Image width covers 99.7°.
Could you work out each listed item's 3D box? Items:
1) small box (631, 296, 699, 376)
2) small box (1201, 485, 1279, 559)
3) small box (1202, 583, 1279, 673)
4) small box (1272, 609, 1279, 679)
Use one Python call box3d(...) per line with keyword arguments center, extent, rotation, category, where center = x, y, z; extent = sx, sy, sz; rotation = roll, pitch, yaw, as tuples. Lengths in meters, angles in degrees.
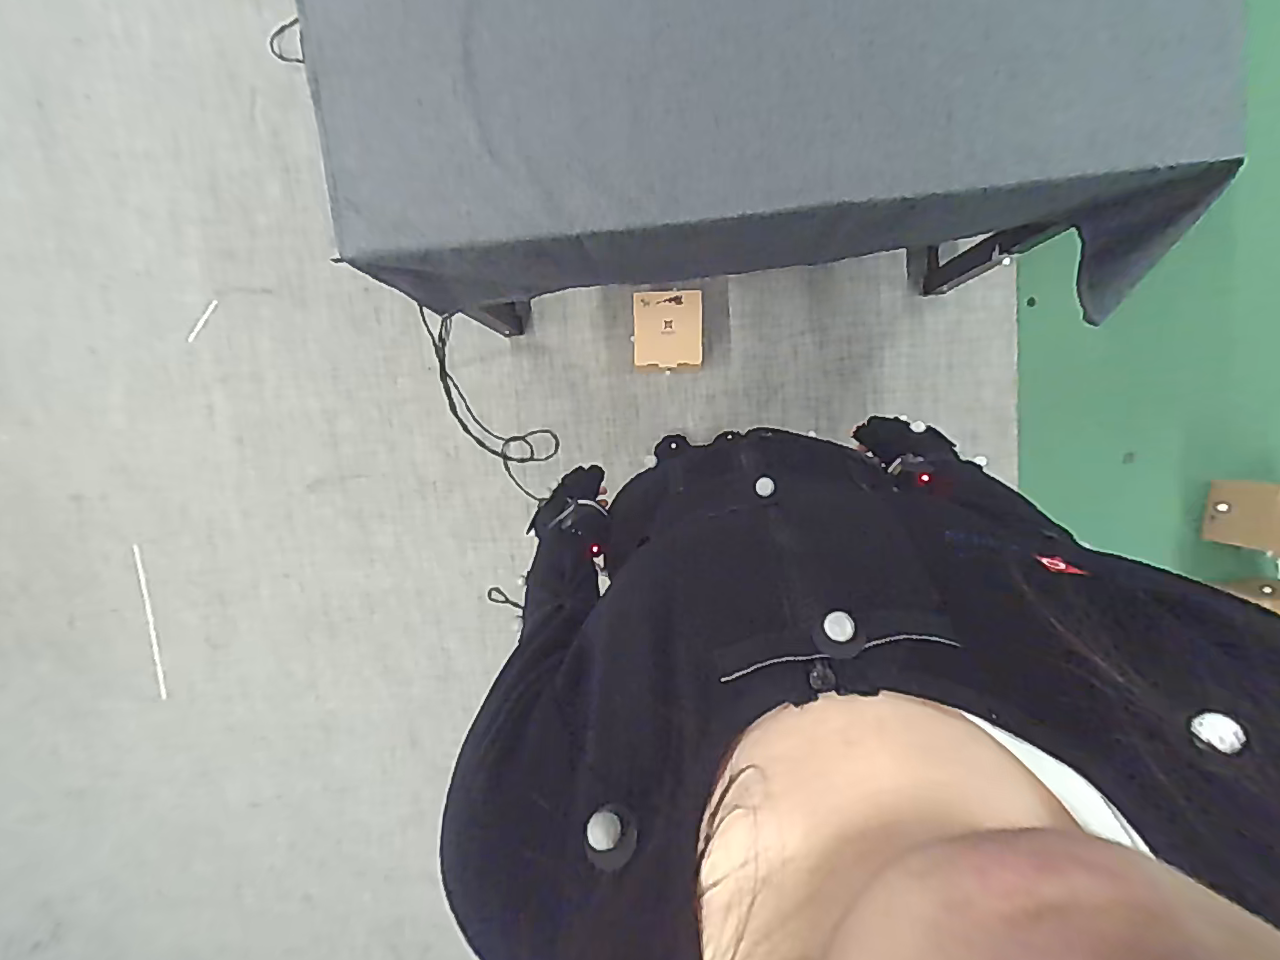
box3d(center=(0.065, -0.356, 1.364), extent=(0.168, 0.176, 0.179), rotation=(0, 95, 4), category="small box")
box3d(center=(1.558, 0.105, 1.325), extent=(0.179, 0.176, 0.168), rotation=(7, 94, 4), category="small box")
box3d(center=(1.561, 0.363, 1.345), extent=(0.179, 0.176, 0.168), rotation=(-7, 94, 3), category="small box")
box3d(center=(1.558, 0.382, 1.183), extent=(0.168, 0.176, 0.179), rotation=(-4, 95, 3), category="small box")
